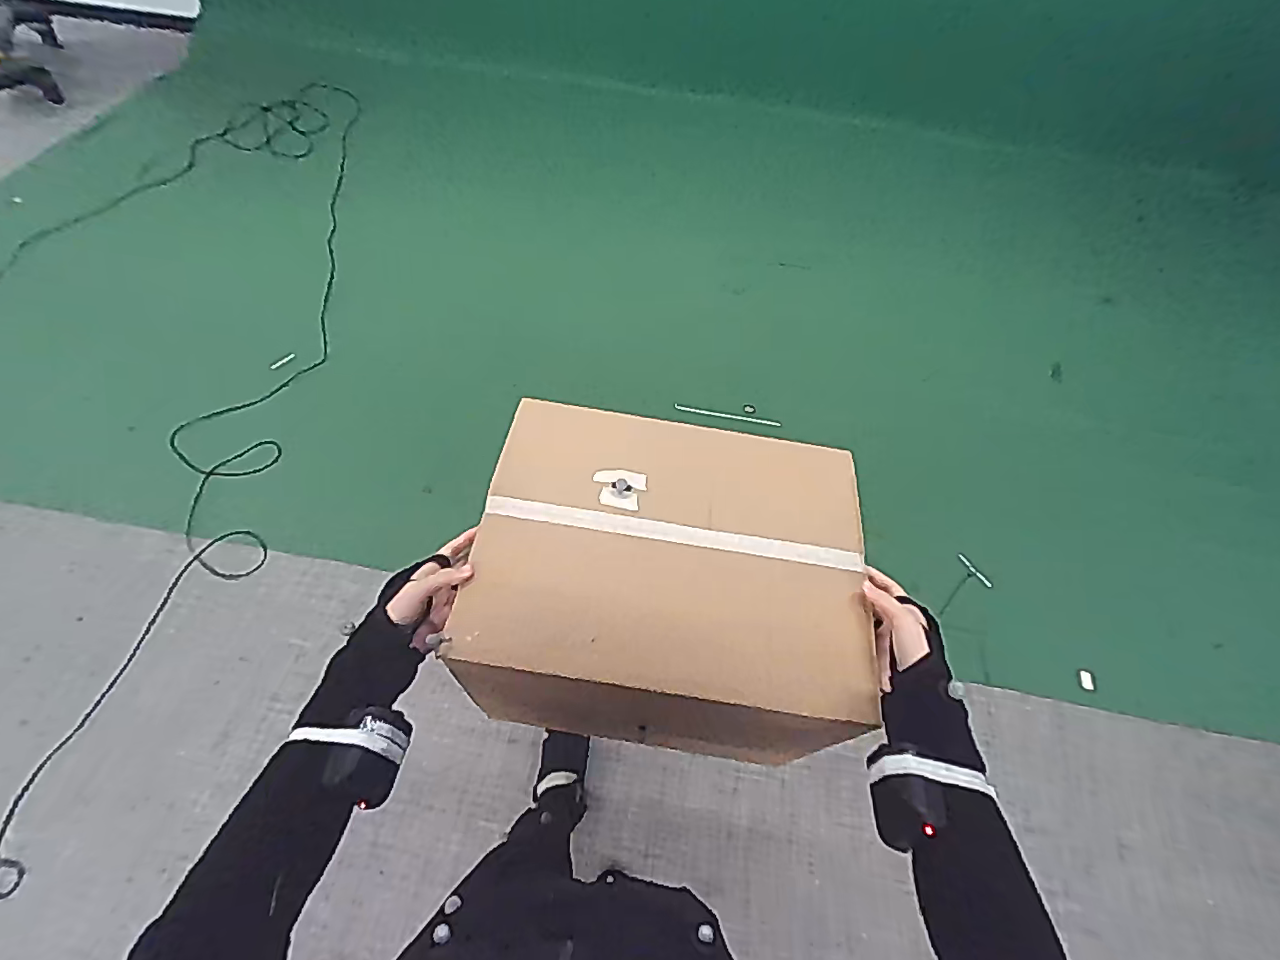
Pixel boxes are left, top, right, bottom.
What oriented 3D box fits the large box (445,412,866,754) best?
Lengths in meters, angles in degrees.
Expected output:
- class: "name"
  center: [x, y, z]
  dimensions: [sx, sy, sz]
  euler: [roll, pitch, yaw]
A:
- class: "large box"
  center: [0.023, 0.150, 0.705]
  dimensions: [0.408, 0.320, 0.320]
  euler: [9, 55, 1]
